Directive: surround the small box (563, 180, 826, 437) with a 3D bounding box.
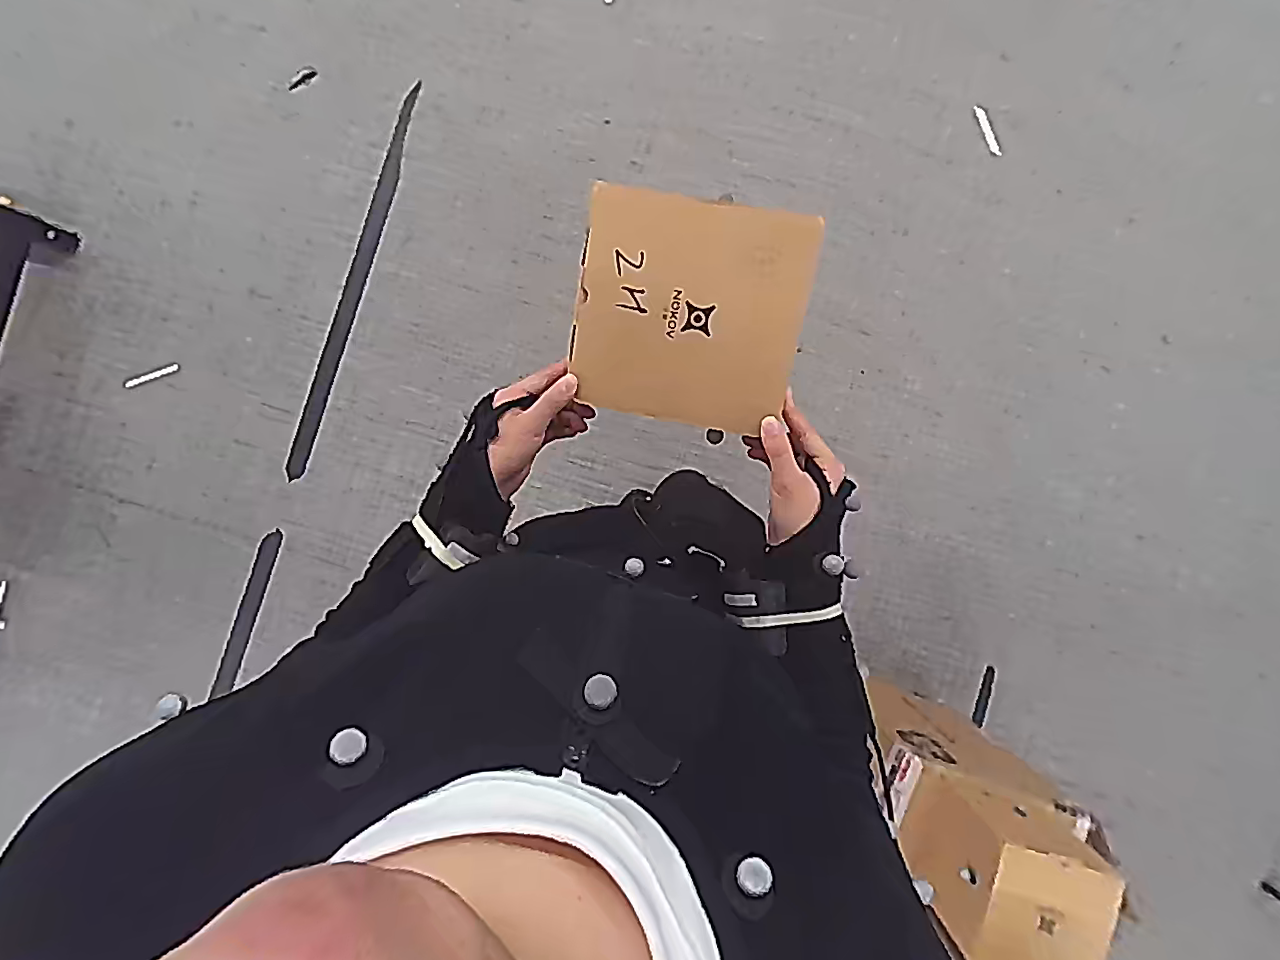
[{"bbox_3d":[0.046,-0.146,0.492,0.179,0.176,0.168,12,104,5],"label":"small box"}]
